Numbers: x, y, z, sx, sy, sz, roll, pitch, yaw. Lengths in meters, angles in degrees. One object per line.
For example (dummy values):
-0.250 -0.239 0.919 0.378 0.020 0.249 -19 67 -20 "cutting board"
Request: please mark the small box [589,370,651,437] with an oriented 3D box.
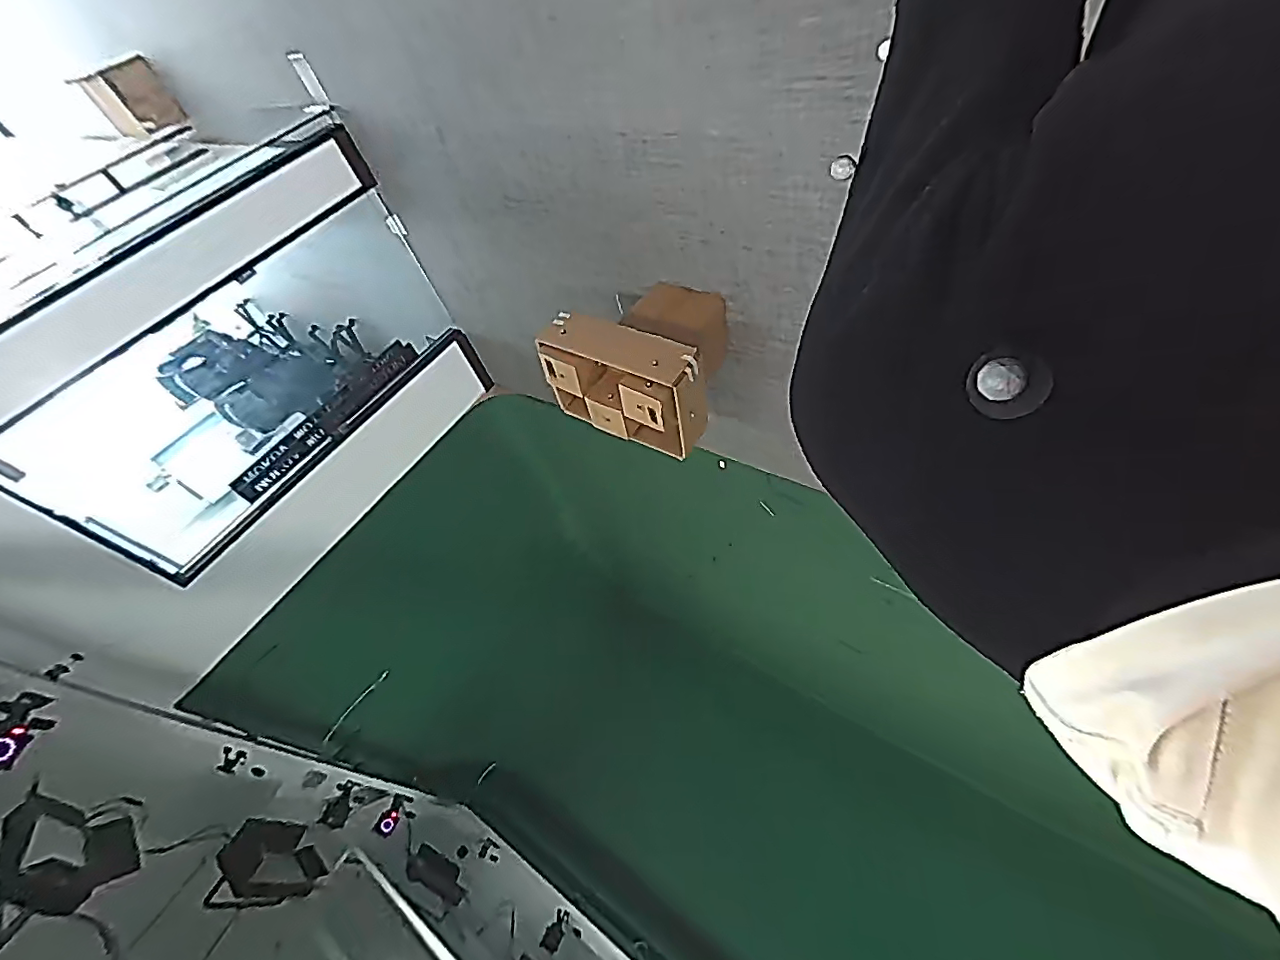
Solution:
-0.070 -0.304 2.110 0.179 0.176 0.168 24 151 25 "small box"
